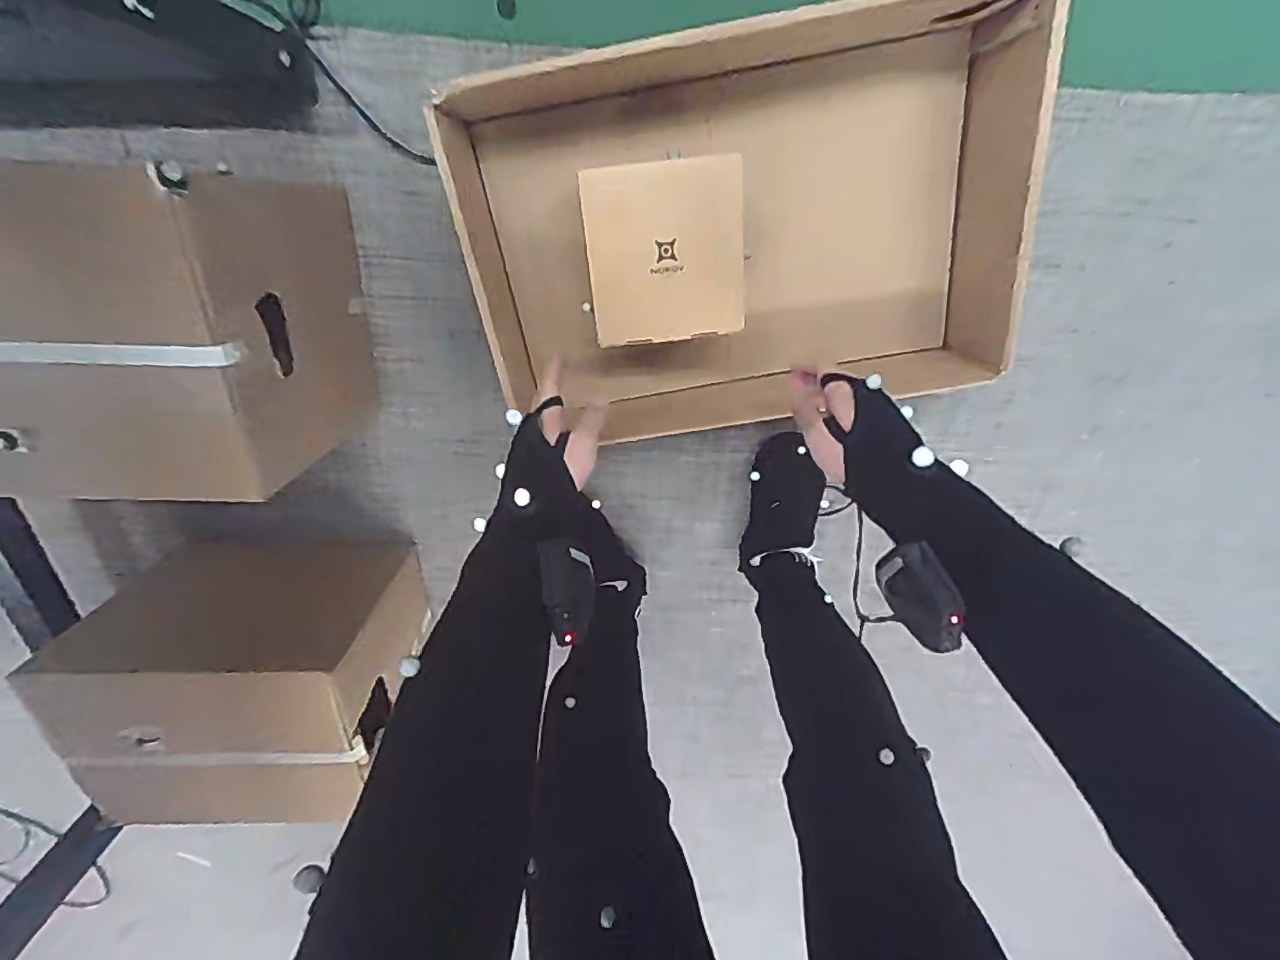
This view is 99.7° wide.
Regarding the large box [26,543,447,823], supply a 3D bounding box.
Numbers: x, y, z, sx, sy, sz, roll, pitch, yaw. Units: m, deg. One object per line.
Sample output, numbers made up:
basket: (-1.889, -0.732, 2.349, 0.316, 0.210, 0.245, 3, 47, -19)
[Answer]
large box: (-0.584, 0.314, 0.886, 0.408, 0.320, 0.320, -1, 115, 0)
